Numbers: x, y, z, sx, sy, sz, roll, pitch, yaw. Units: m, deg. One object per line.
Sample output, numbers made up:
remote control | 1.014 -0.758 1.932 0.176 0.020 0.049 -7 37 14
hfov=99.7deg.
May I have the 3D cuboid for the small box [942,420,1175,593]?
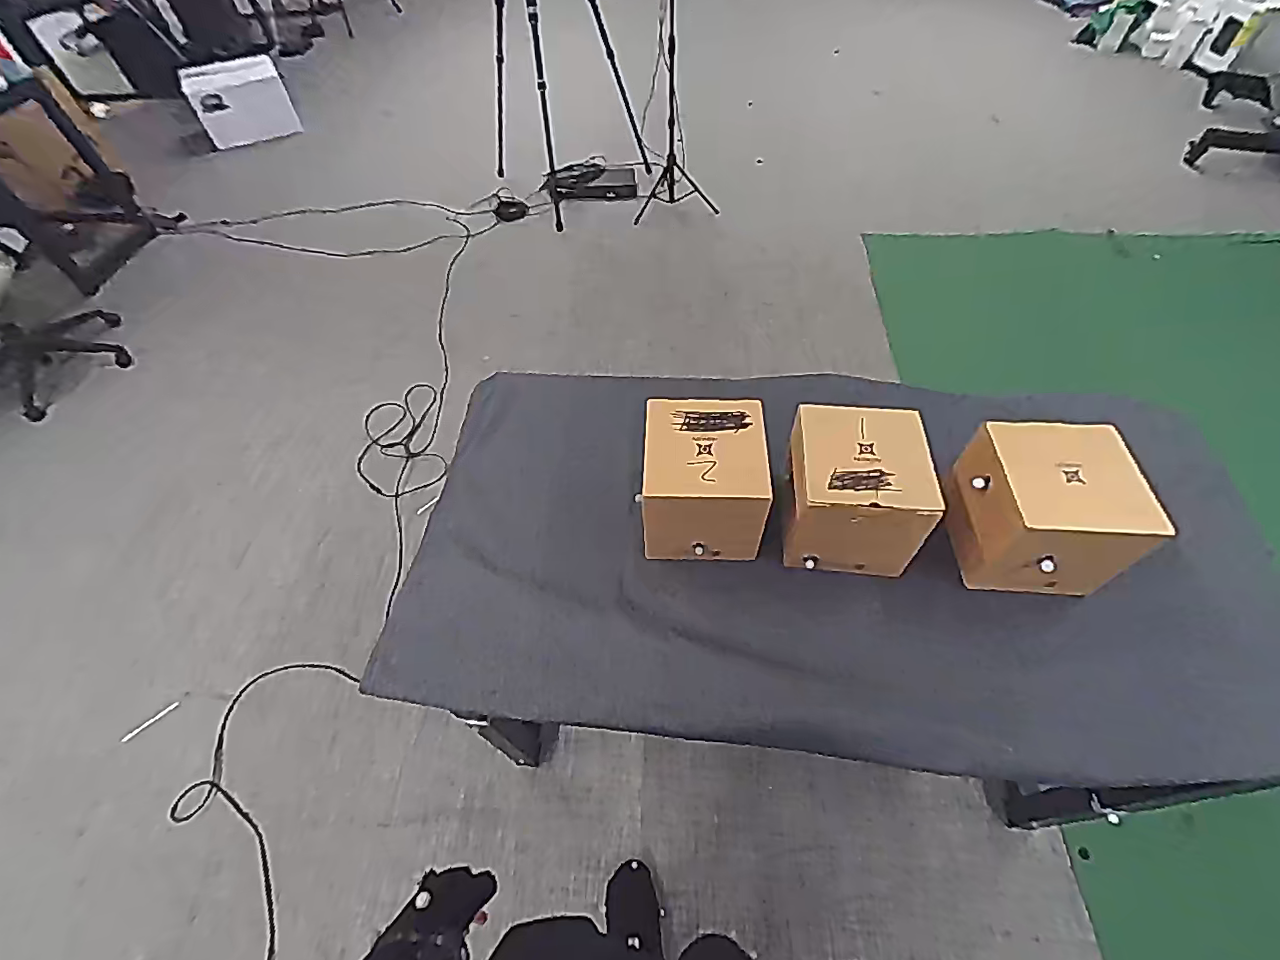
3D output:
small box | 0.544 0.040 0.737 0.168 0.176 0.179 3 53 5
